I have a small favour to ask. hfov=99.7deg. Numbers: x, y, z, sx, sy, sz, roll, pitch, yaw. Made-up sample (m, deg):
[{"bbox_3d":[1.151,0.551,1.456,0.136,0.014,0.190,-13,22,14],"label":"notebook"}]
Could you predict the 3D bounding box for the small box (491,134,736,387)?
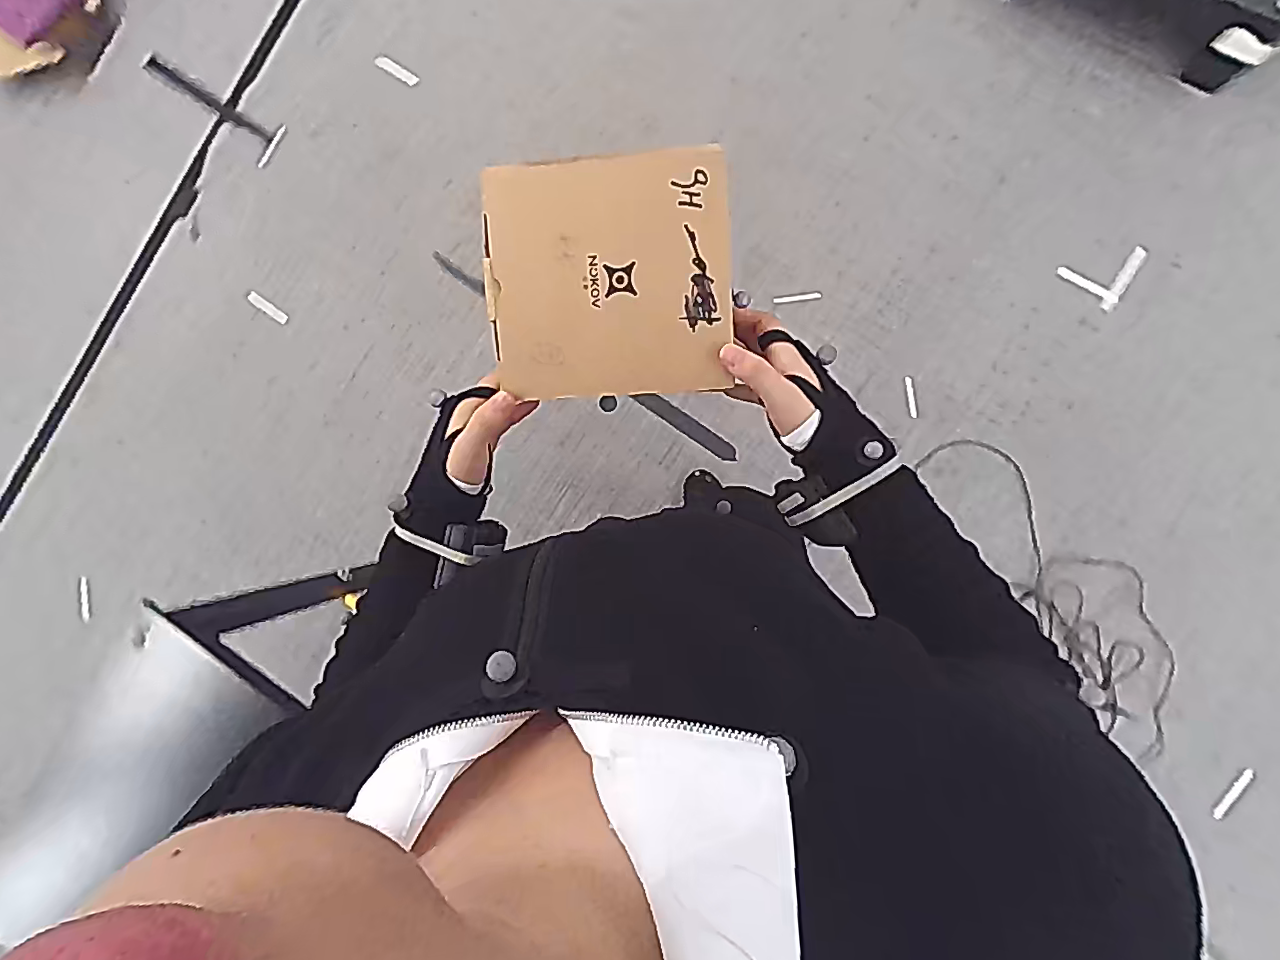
[{"bbox_3d":[-0.010,-0.167,0.467,0.179,0.176,0.168,-1,100,6],"label":"small box"}]
